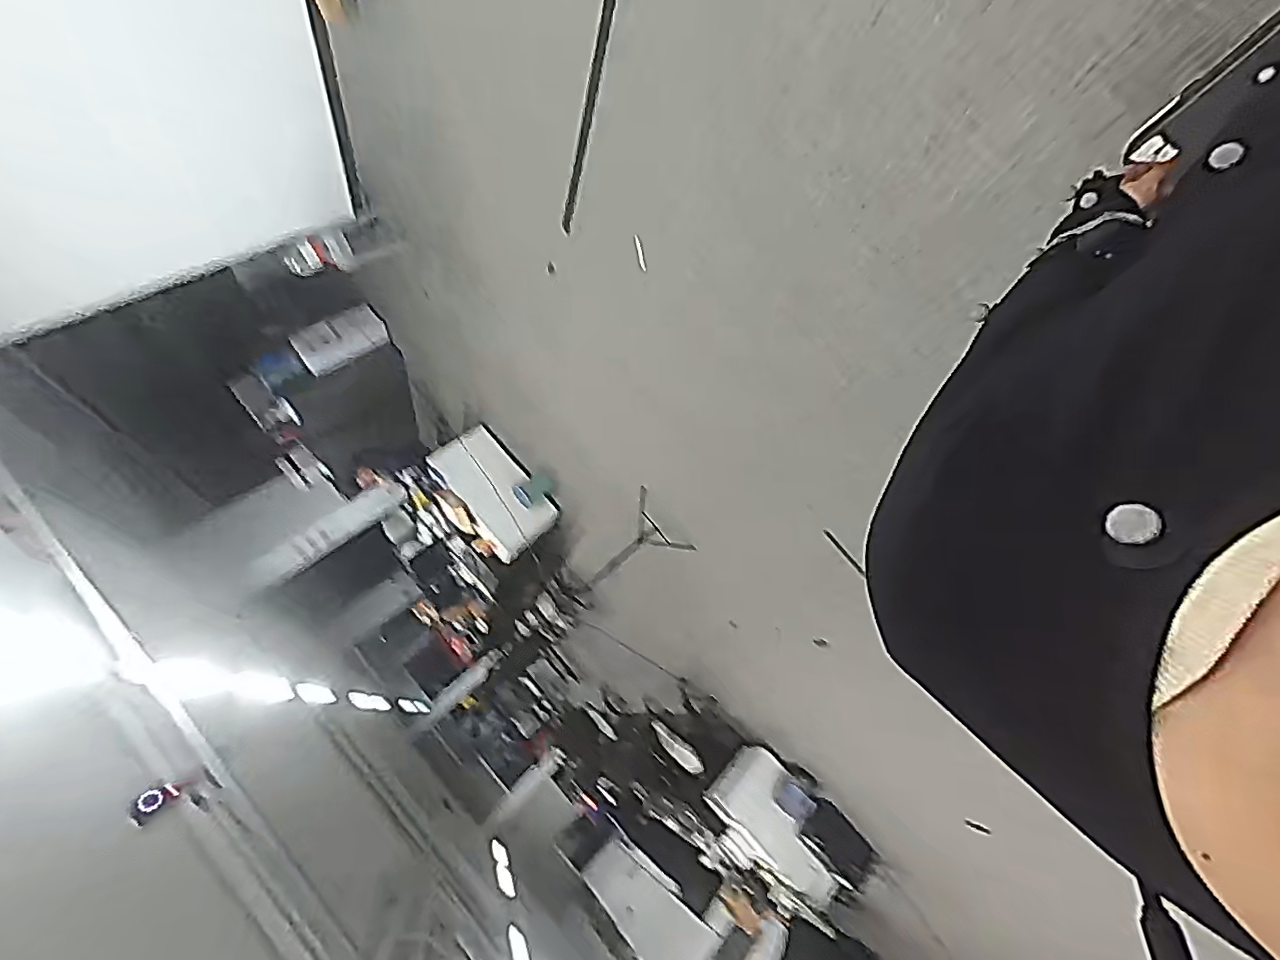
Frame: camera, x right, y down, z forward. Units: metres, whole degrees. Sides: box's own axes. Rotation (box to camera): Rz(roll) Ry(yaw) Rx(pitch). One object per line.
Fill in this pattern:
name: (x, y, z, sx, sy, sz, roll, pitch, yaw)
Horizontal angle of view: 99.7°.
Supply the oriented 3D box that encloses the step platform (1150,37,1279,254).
step platform: (1.121, -0.628, 0.692, 0.286, 0.204, 0.684, 51, 151, 3)
